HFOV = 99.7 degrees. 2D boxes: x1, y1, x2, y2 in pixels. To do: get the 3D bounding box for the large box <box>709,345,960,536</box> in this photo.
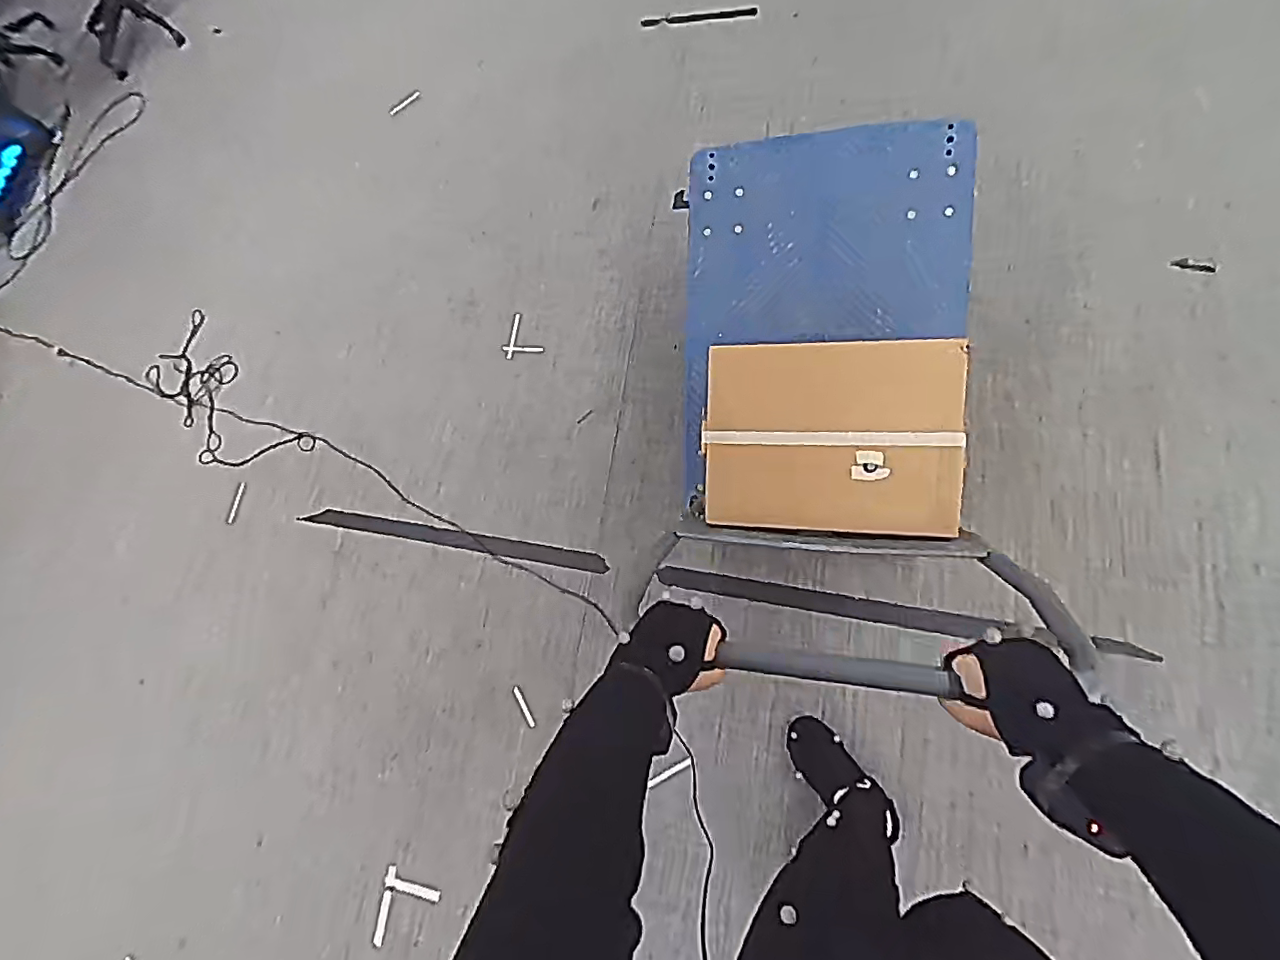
[{"bbox_3d":[0.350,-0.072,1.056,0.408,0.320,0.320,1,95,14],"label":"large box"}]
